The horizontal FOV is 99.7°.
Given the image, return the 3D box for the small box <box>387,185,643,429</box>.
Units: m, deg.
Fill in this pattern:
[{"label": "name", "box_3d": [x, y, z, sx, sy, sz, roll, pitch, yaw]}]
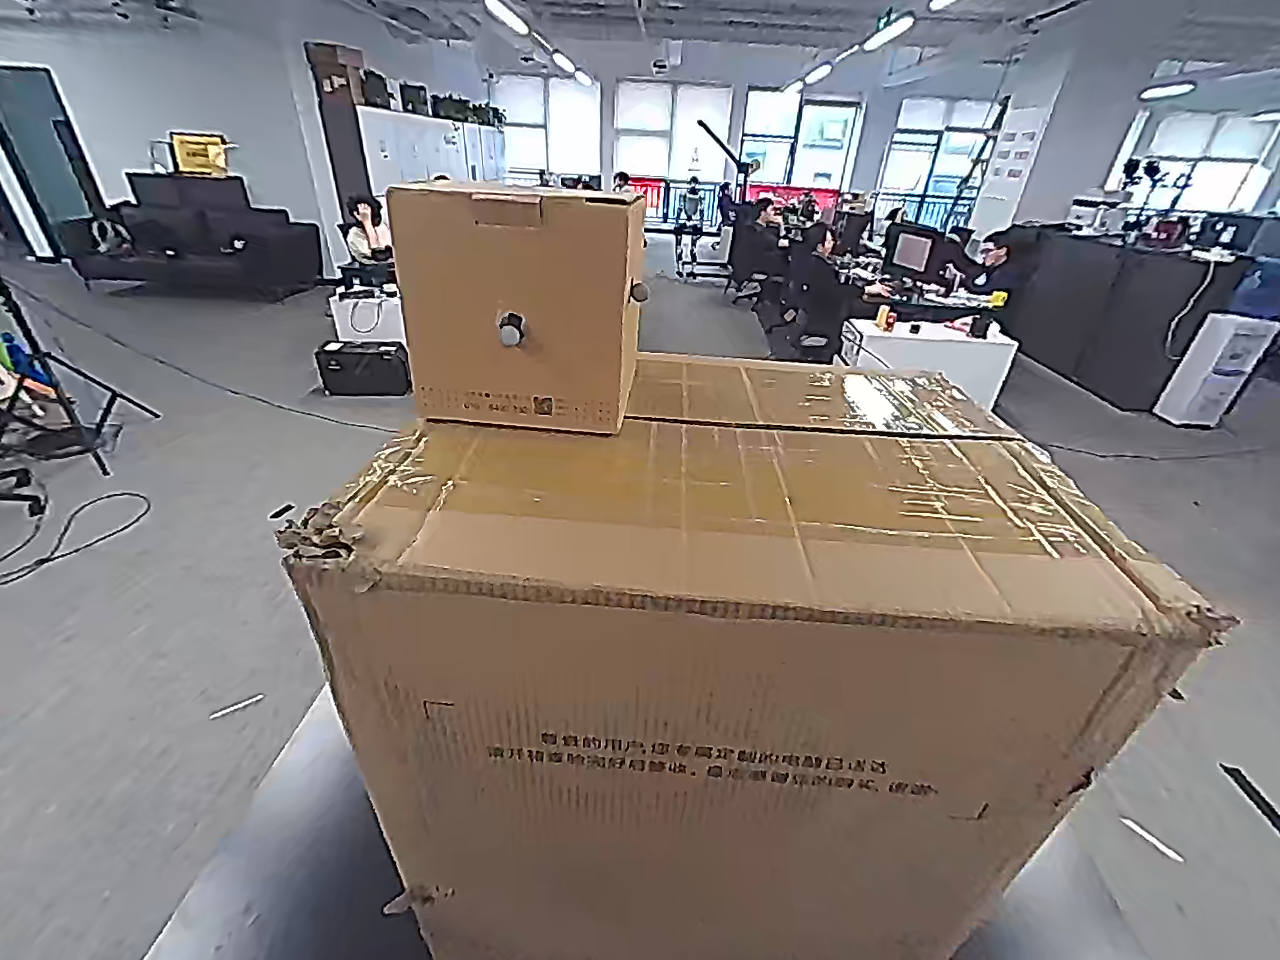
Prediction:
[{"label": "small box", "box_3d": [-0.087, -0.155, 0.470, 0.168, 0.176, 0.179, 5, 30, 1]}]
